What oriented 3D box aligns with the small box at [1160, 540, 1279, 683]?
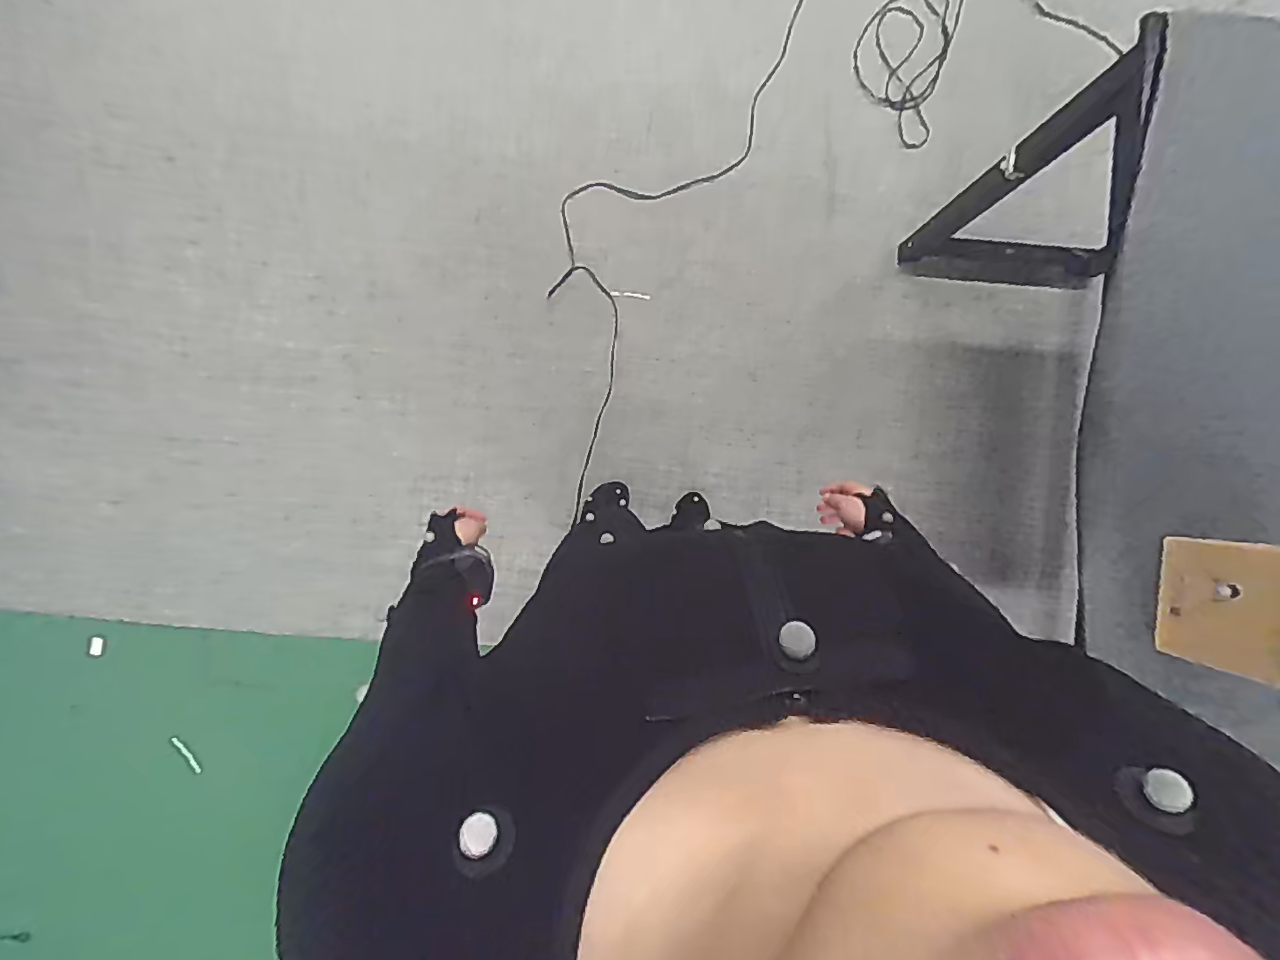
[{"bbox_3d":[0.839,0.171,0.705,0.179,0.176,0.168,4,89,-4],"label":"small box"}]
